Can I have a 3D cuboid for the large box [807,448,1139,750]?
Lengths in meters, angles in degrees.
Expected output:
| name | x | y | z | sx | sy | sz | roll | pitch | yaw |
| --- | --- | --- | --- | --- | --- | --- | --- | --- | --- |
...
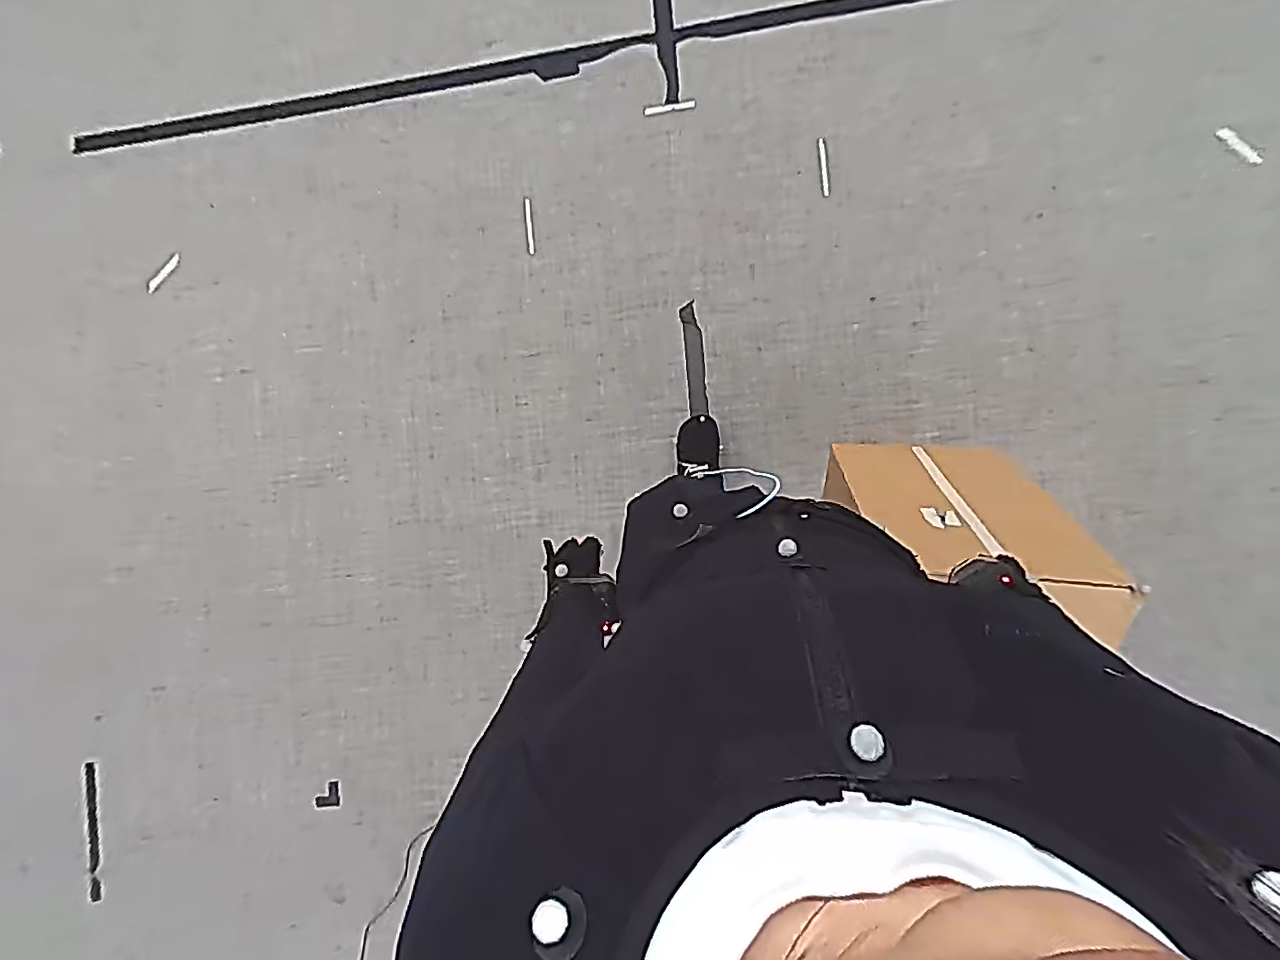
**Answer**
| name | x | y | z | sx | sy | sz | roll | pitch | yaw |
| --- | --- | --- | --- | --- | --- | --- | --- | --- | --- |
| large box | 0.495 | 0.175 | 0.932 | 0.320 | 0.408 | 0.320 | 3 | 119 | 7 |
